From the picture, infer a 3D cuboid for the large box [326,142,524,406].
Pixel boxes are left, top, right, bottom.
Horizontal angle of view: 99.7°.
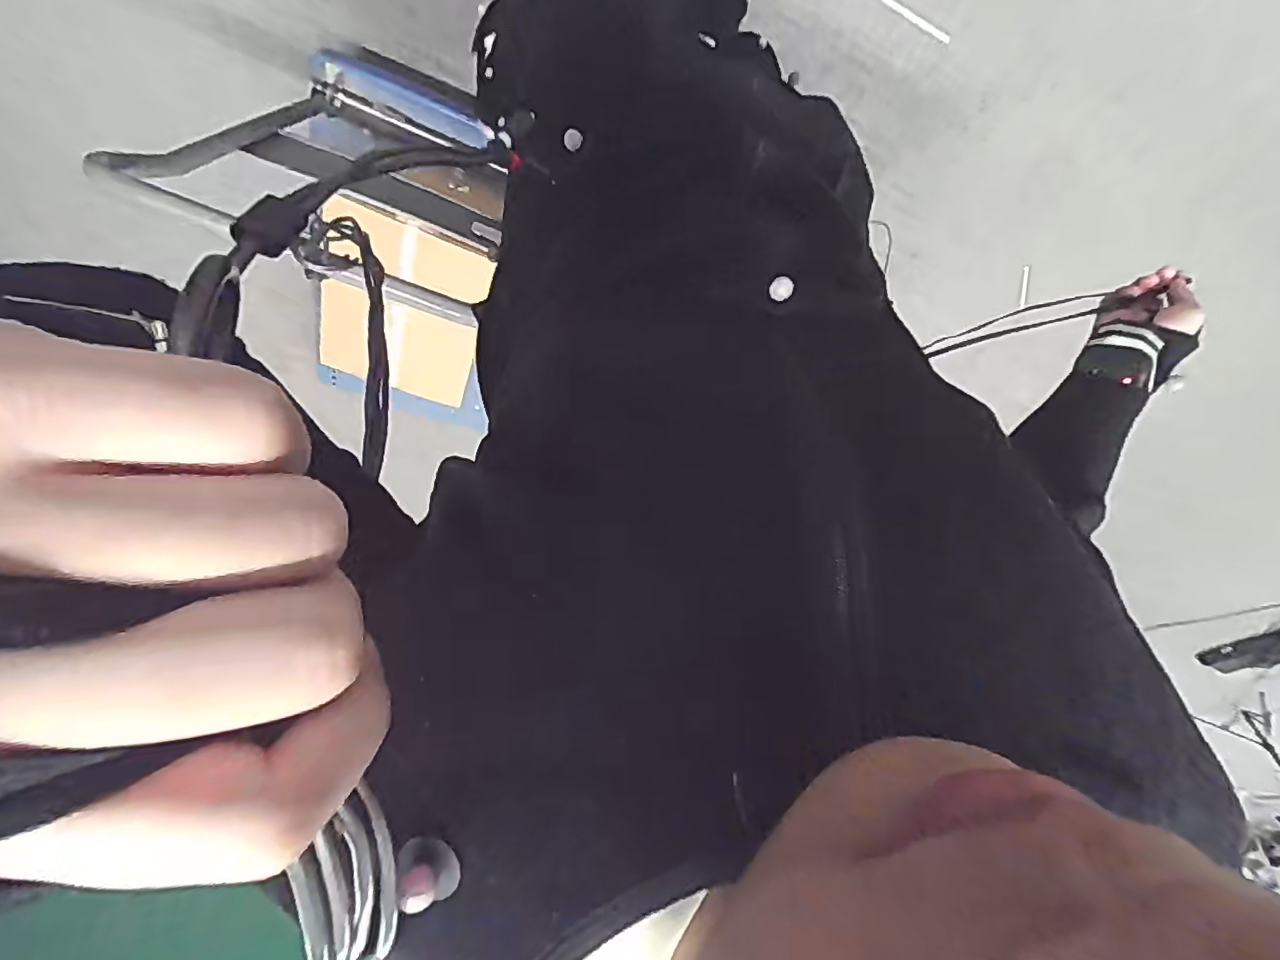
[{"bbox_3d":[-0.480,-0.451,1.219,0.320,0.320,0.408,19,134,-16],"label":"large box"}]
